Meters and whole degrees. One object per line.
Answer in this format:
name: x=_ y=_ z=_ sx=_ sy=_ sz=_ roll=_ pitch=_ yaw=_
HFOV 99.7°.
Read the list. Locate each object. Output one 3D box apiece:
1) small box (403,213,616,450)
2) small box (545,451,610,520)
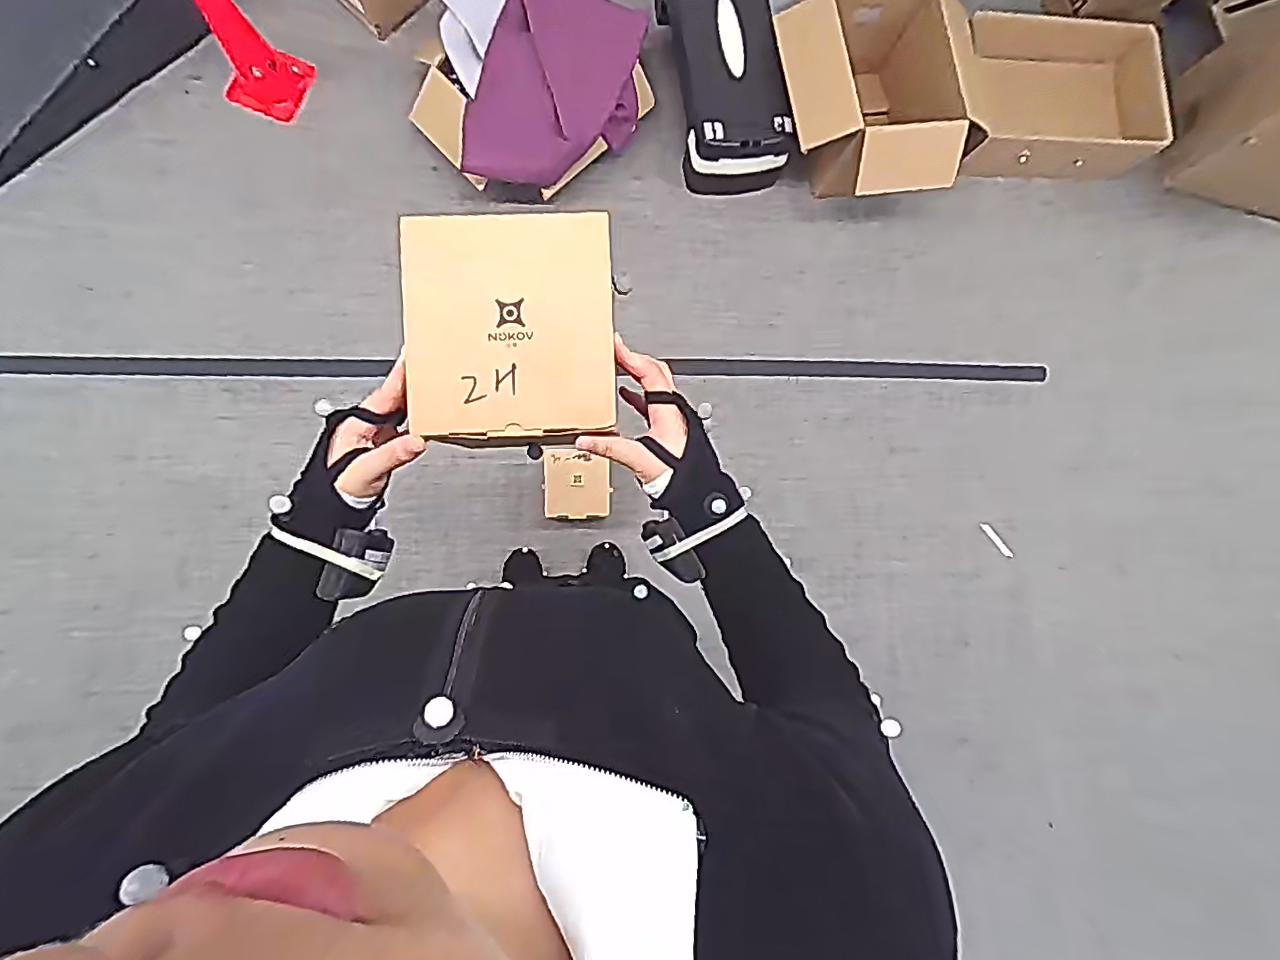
small box: x=-0.107 y=-0.124 z=0.510 sx=0.168 sy=0.176 sz=0.179 roll=-2 pitch=90 yaw=-1
small box: x=-0.163 y=0.020 z=1.446 sx=0.168 sy=0.176 sz=0.179 roll=0 pitch=85 yaw=-6
